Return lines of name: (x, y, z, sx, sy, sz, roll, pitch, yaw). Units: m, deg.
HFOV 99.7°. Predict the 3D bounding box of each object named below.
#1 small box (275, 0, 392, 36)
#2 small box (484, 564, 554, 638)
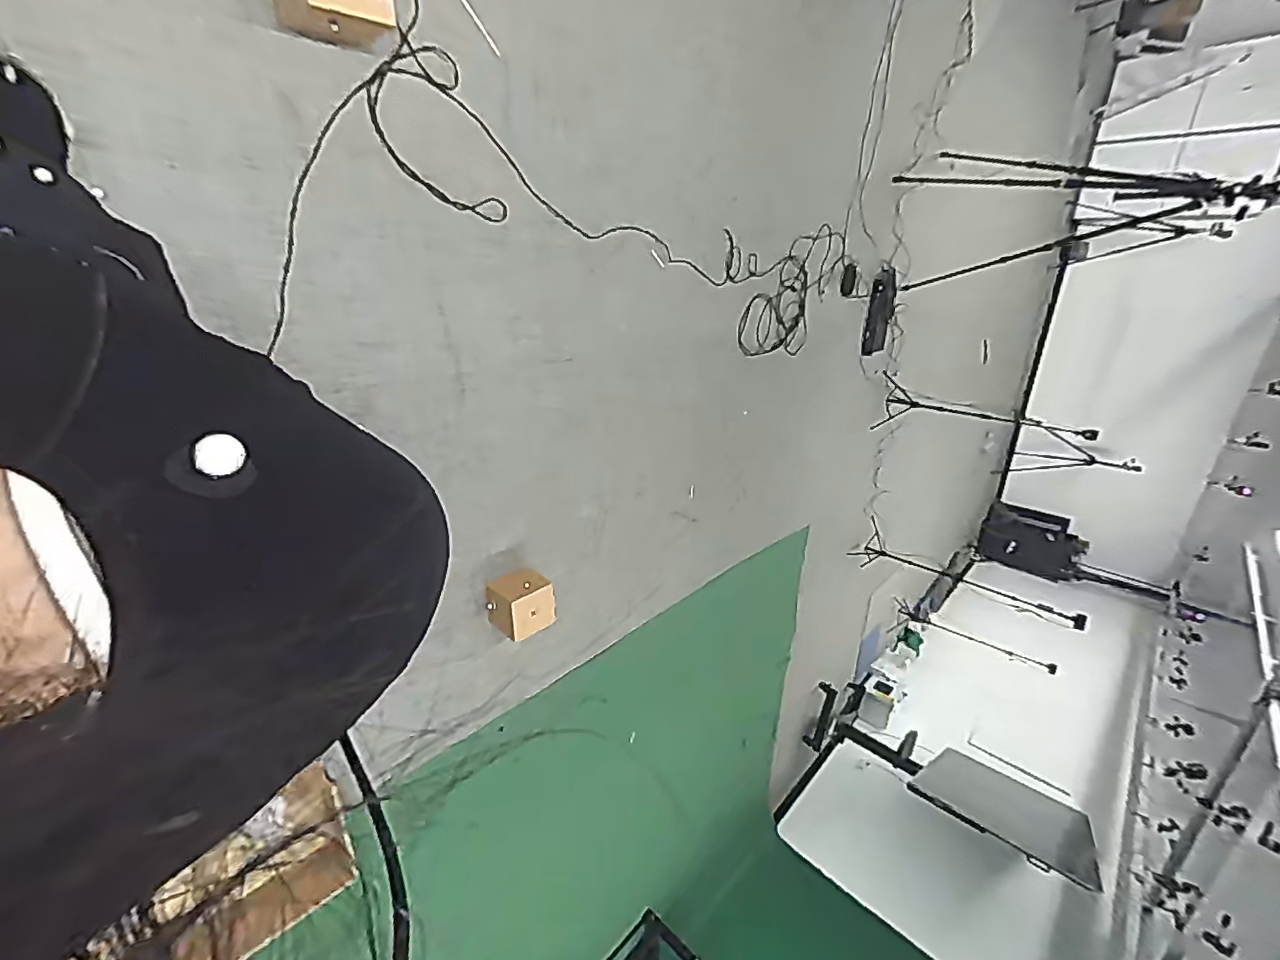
small box: (-0.627, -1.019, 1.077, 0.179, 0.176, 0.168, -23, 123, -40)
small box: (-0.430, 0.423, 1.923, 0.179, 0.176, 0.168, -21, 120, -40)
